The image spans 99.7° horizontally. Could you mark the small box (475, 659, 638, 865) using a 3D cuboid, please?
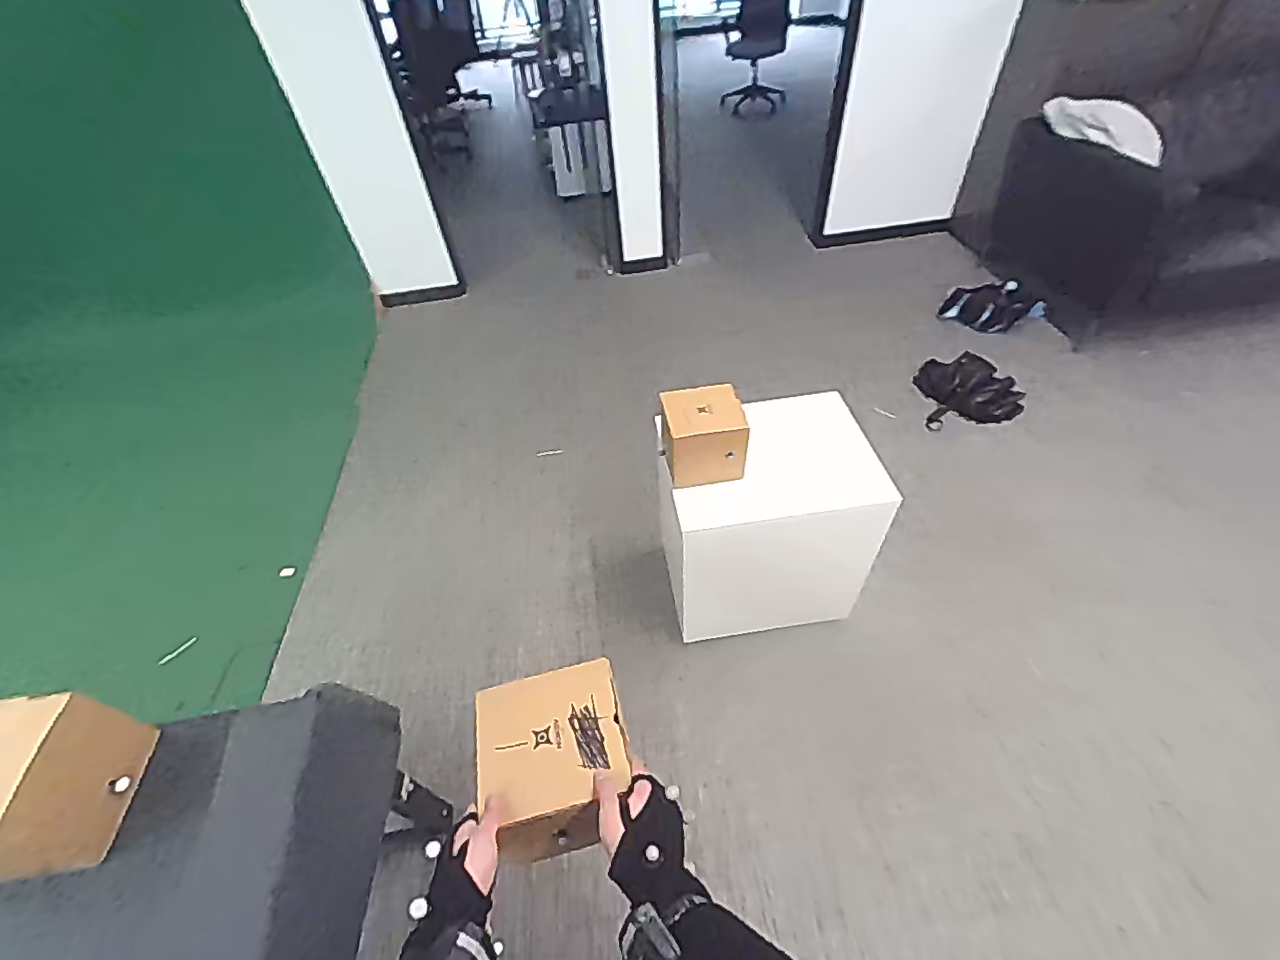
[{"bbox_3d":[-0.101,0.357,0.686,0.179,0.176,0.168,-11,43,-7],"label":"small box"}]

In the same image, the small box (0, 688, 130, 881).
[{"bbox_3d":[-0.821,0.393,0.689,0.168,0.176,0.179,-7,47,-4],"label":"small box"}]

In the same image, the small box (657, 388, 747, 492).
[{"bbox_3d":[0.137,-0.092,1.276,0.179,0.176,0.168,-9,46,-5],"label":"small box"}]
